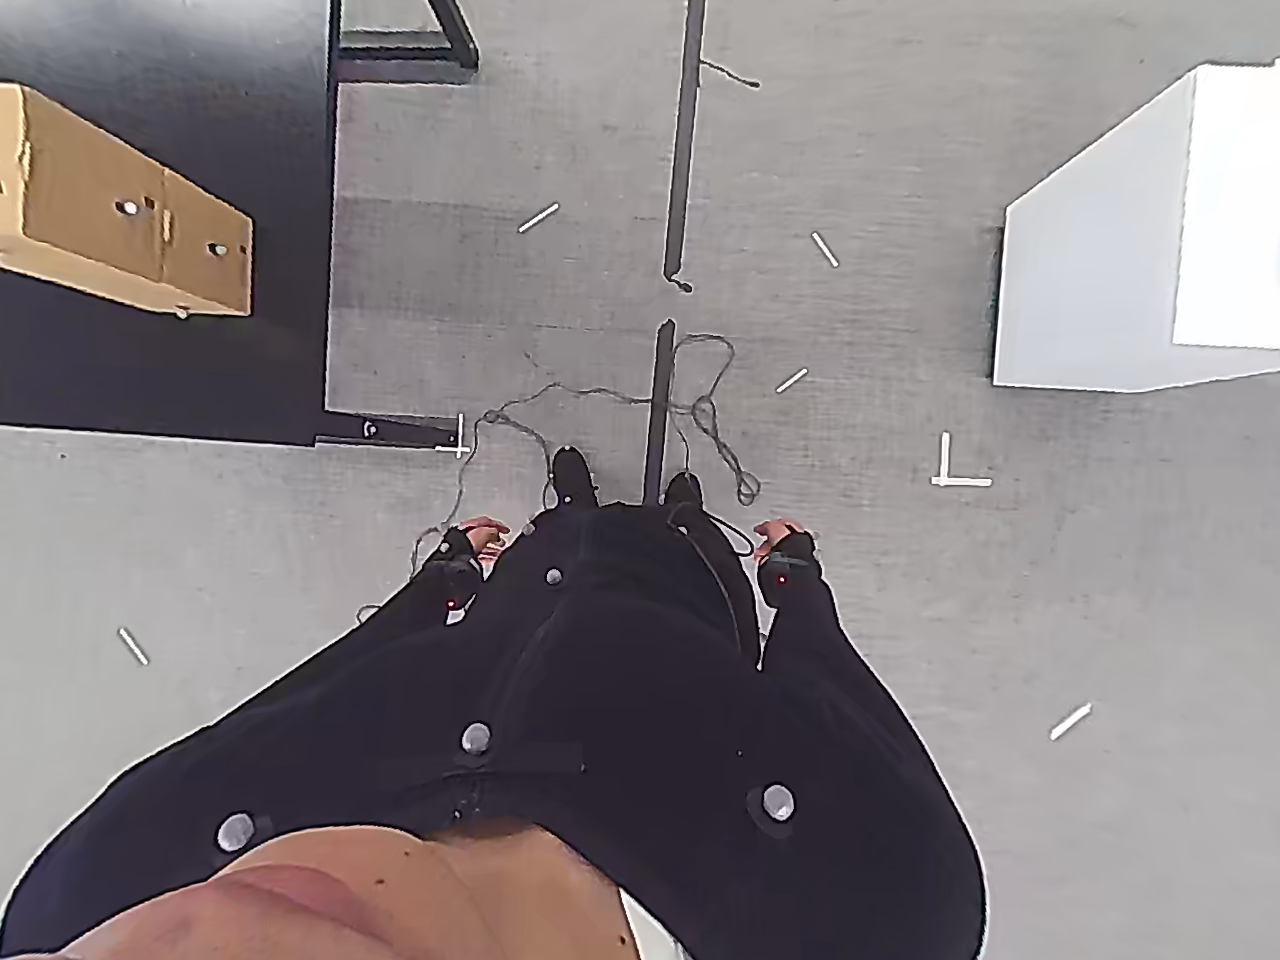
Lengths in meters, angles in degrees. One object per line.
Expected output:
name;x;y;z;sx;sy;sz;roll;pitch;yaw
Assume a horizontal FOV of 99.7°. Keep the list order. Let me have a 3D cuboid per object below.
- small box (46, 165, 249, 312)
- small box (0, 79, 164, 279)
small box;-0.748;-0.366;0.840;0.179;0.176;0.168;3;92;2
small box;-0.757;-0.361;0.675;0.179;0.176;0.168;3;92;2
